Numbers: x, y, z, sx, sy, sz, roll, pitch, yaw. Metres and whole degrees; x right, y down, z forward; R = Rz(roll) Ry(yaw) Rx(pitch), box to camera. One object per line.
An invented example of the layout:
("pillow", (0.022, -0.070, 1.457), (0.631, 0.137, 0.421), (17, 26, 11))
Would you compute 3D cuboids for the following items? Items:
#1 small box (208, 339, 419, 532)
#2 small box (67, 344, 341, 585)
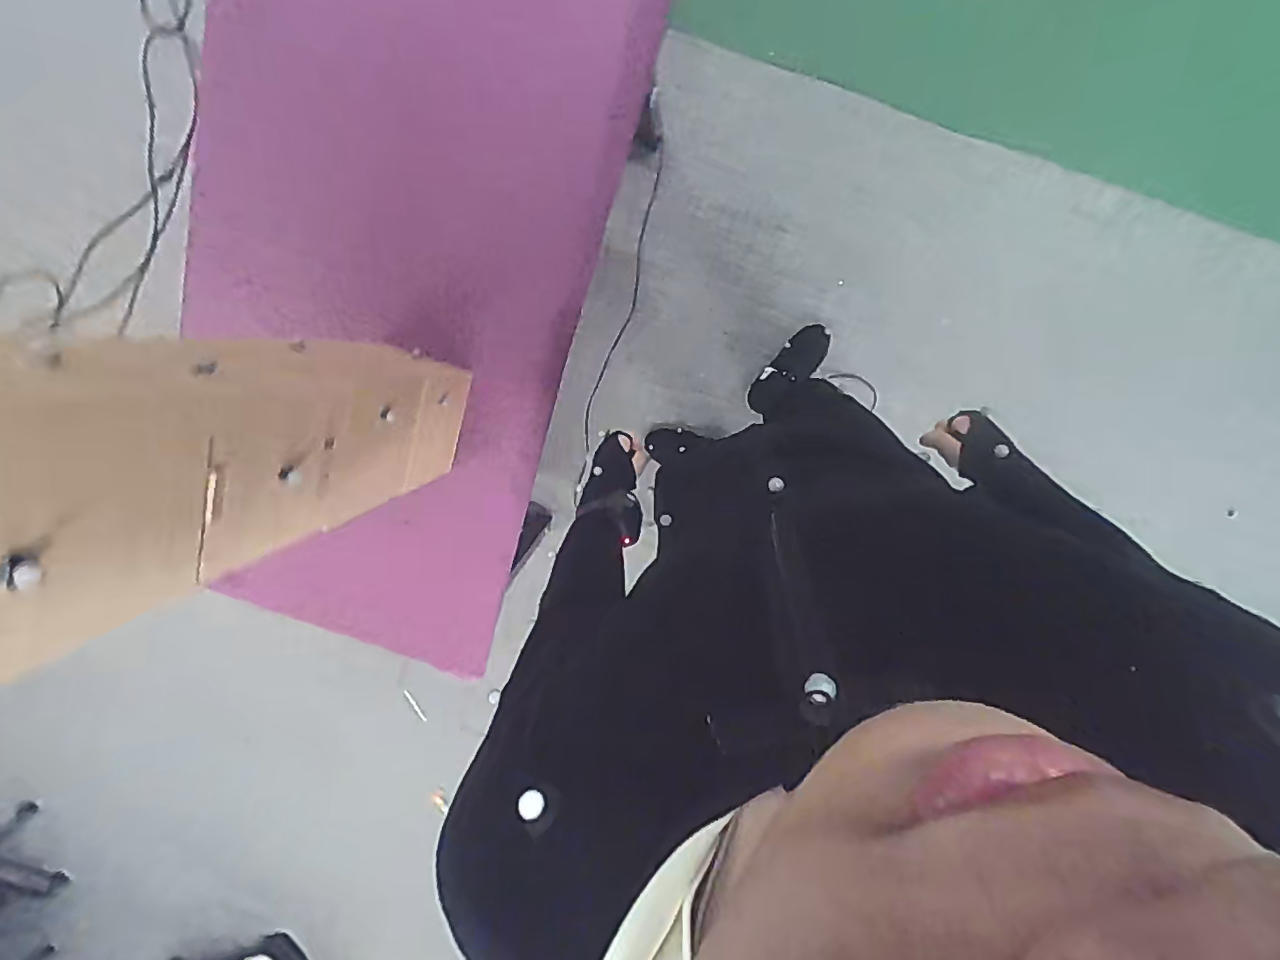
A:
("small box", (-0.398, -0.063, 0.669), (0.168, 0.176, 0.179), (18, 104, 1))
("small box", (-0.420, -0.029, 0.512), (0.179, 0.176, 0.168), (17, 103, 1))
